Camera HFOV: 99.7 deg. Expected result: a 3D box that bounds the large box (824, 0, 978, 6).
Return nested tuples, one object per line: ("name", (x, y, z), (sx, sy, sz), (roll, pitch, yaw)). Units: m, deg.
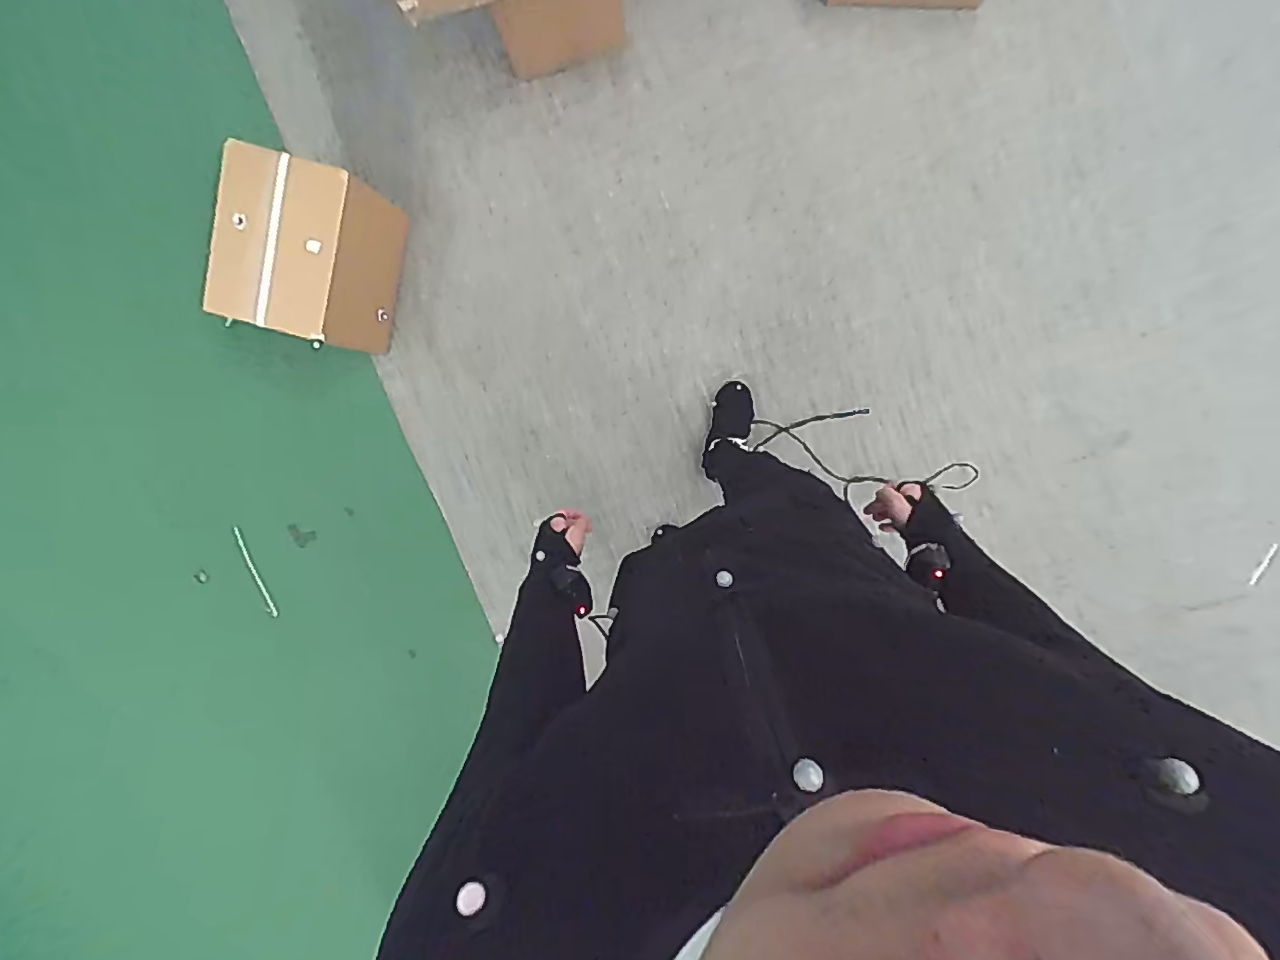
("large box", (0.677, -1.368, 1.244), (0.408, 0.320, 0.320), (3, 98, 4))
